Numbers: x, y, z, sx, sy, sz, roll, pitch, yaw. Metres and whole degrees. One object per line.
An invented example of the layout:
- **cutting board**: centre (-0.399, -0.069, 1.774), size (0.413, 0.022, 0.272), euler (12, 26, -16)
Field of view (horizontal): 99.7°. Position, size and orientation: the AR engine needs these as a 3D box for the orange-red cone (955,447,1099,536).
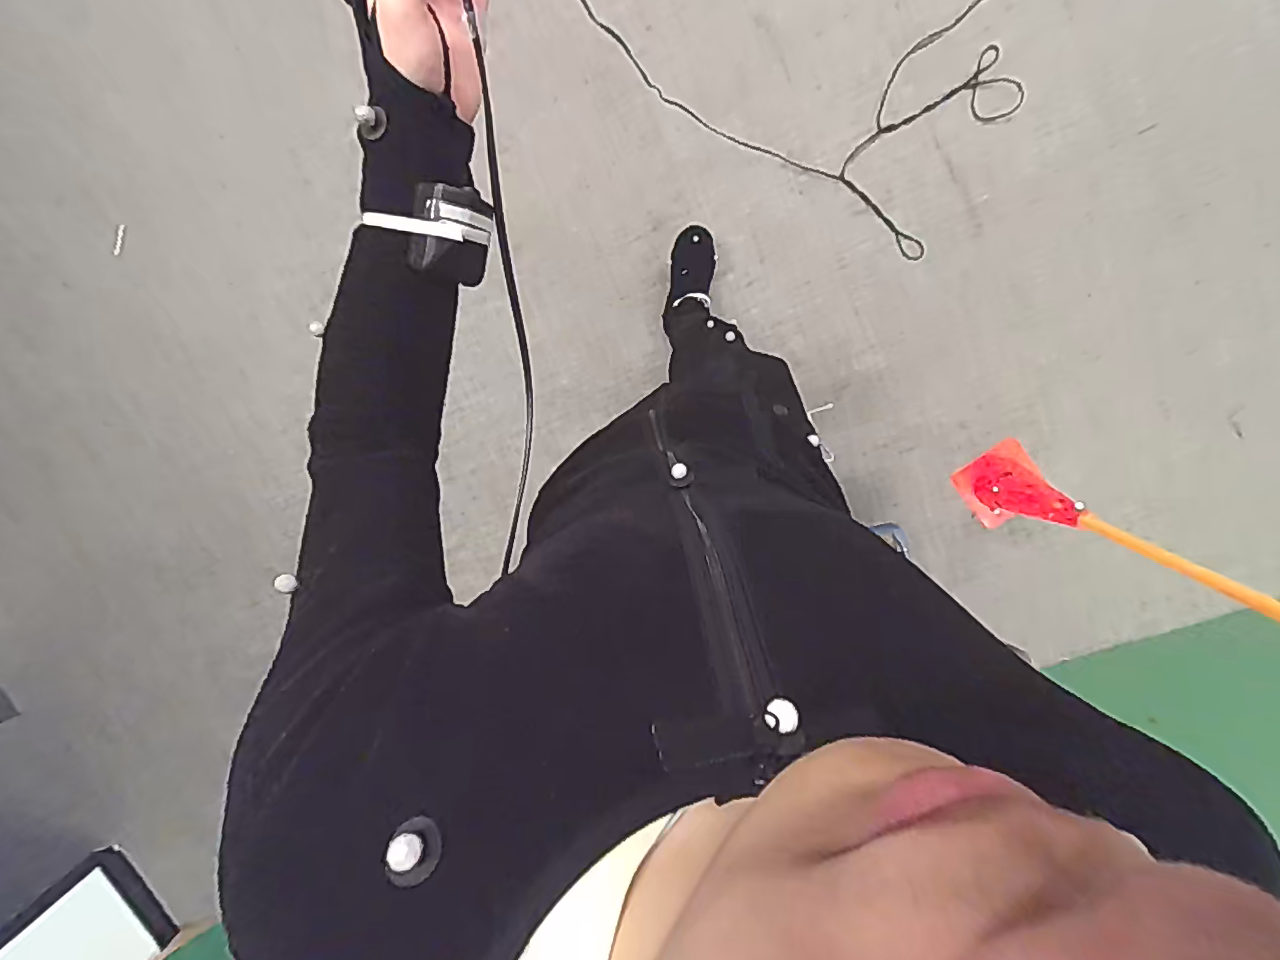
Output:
- **orange-red cone**: centre (0.997, 0.065, 1.347), size (0.199, 0.360, 0.198), euler (-37, 97, 11)
